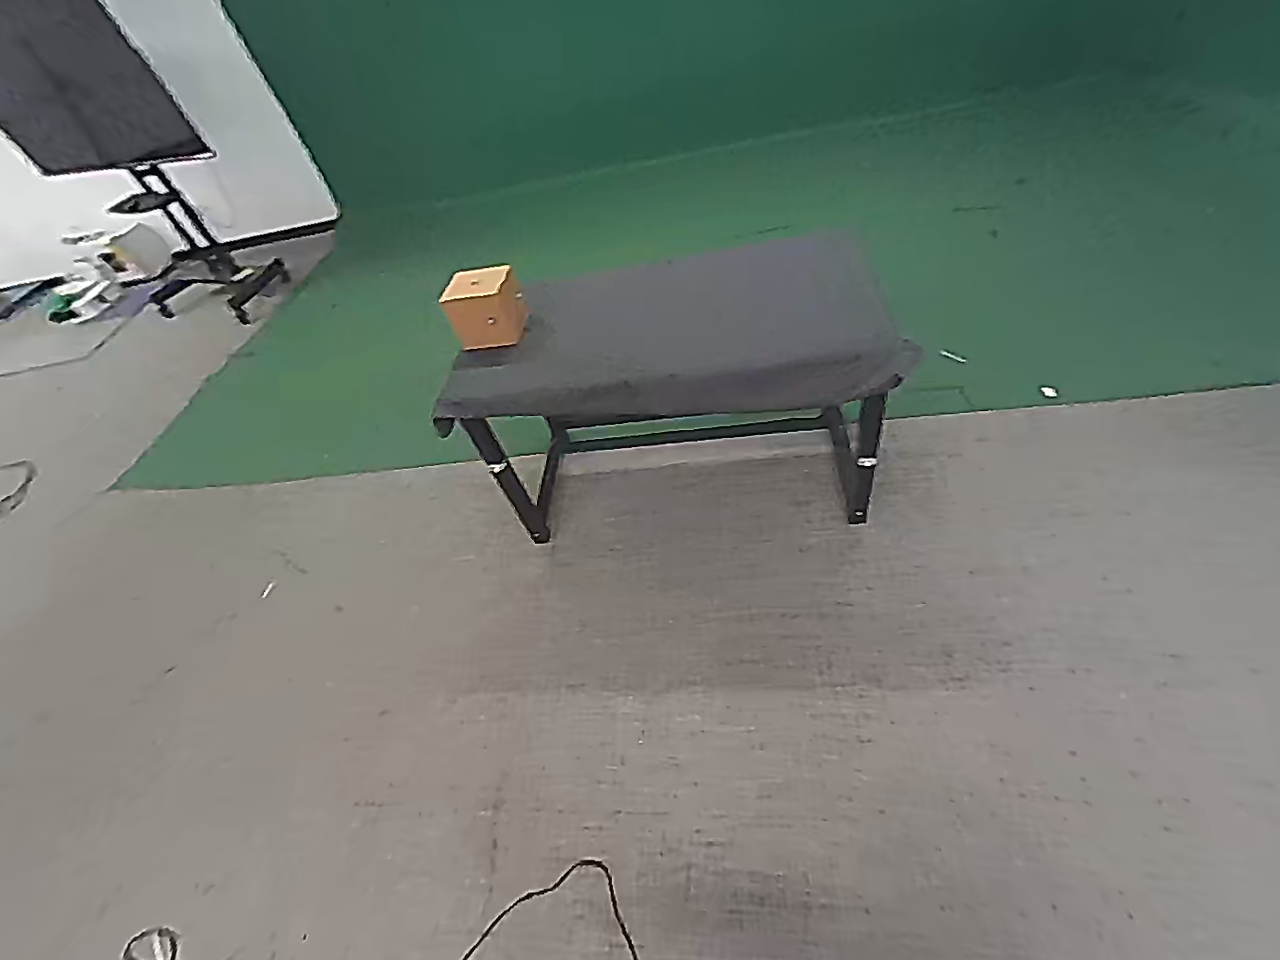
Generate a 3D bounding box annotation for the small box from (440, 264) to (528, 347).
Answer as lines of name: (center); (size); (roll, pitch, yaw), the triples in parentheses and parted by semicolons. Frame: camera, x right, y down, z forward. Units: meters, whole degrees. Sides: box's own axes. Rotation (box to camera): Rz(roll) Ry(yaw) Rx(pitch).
small box: (-0.452, -0.514, 1.605); (0.179, 0.176, 0.168); (-2, 47, 13)
